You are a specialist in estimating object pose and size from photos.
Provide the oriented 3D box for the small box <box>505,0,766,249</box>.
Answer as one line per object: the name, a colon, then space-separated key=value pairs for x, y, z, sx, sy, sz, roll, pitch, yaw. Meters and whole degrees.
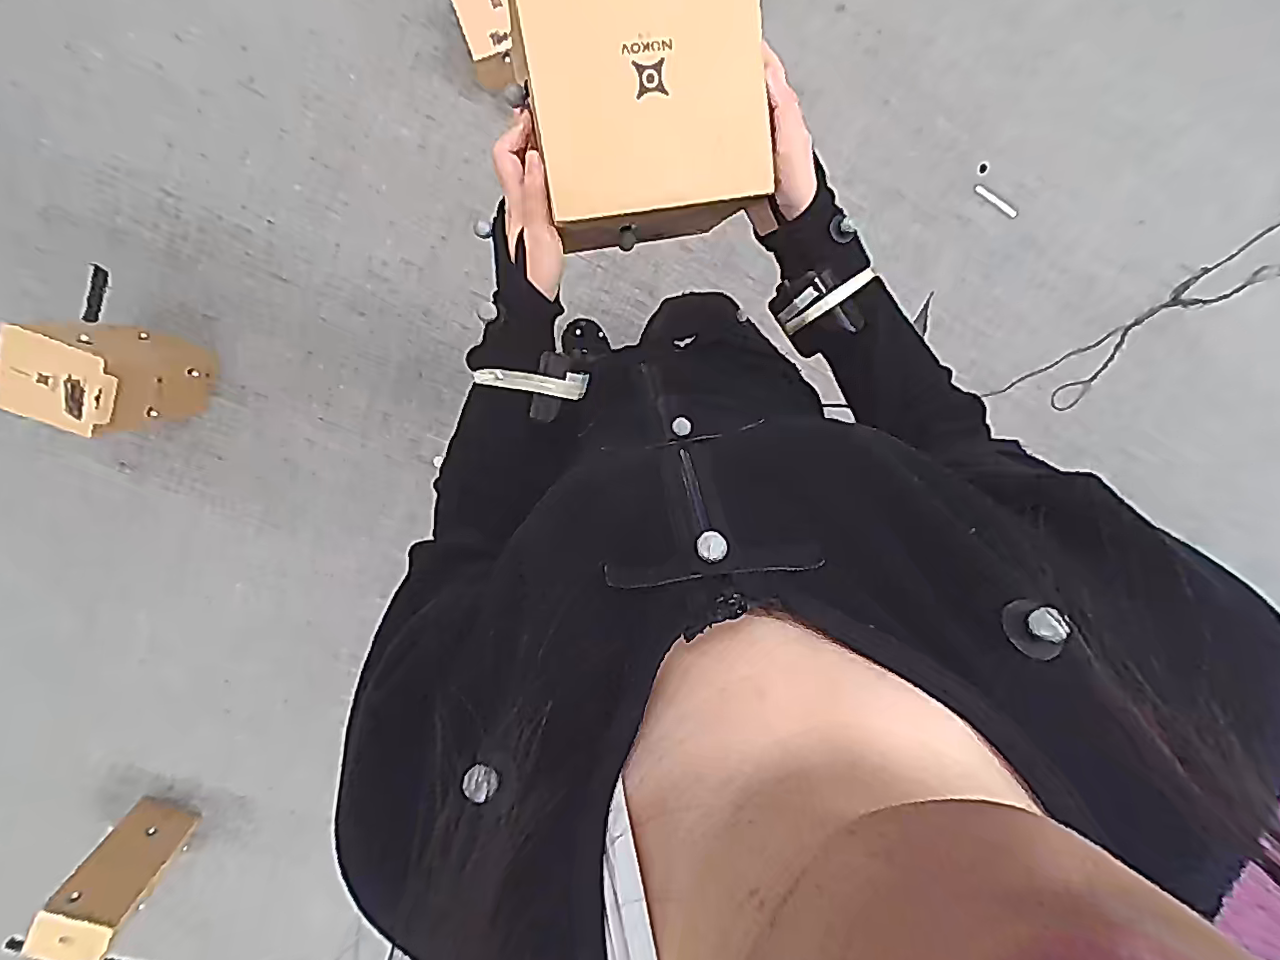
small box: x=-0.010 y=-0.299 z=0.445 sx=0.168 sy=0.176 sz=0.179 roll=-11 pitch=105 yaw=-6

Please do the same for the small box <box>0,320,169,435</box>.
small box: x=-1.105 y=-0.212 z=1.084 sx=0.179 sy=0.176 sz=0.168 roll=21 pitch=103 yaw=-12

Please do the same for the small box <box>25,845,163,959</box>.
small box: x=-1.444 y=1.121 z=1.441 sx=0.179 sy=0.176 sz=0.168 roll=28 pitch=102 yaw=-14

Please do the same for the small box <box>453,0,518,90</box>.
small box: x=-0.288 y=-0.962 z=1.123 sx=0.168 sy=0.176 sz=0.179 roll=-20 pitch=108 yaw=-1

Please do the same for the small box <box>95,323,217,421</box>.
small box: x=-1.125 y=-0.254 z=1.242 sx=0.179 sy=0.176 sz=0.168 roll=20 pitch=102 yaw=-11
